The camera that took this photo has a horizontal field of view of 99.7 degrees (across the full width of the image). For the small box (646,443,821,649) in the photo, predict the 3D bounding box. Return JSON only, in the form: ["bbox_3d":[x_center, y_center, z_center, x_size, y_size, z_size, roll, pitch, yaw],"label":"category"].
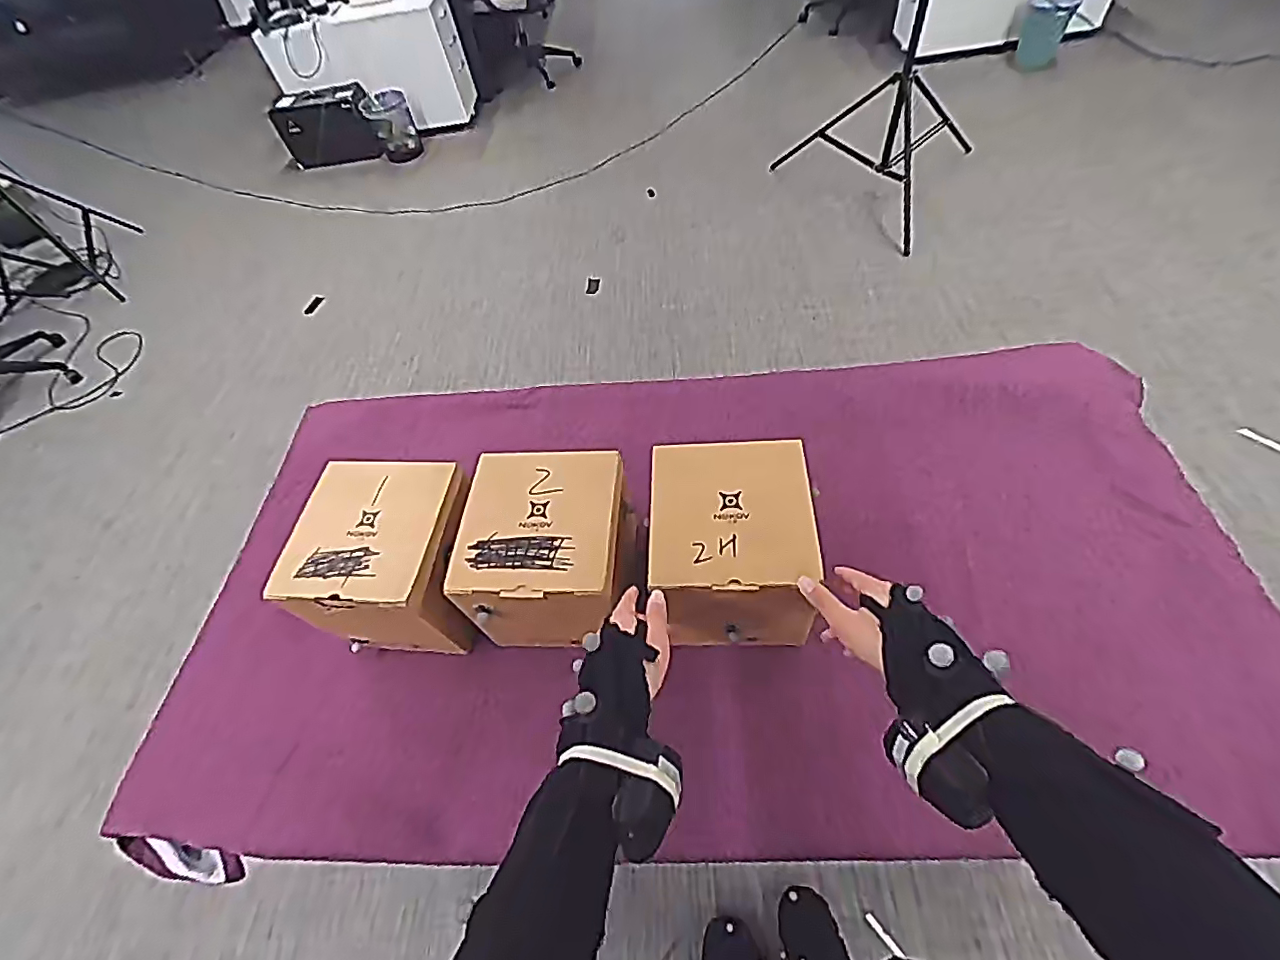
[{"bbox_3d":[0.101,0.078,0.618,0.168,0.176,0.179,-3,54,8],"label":"small box"}]
